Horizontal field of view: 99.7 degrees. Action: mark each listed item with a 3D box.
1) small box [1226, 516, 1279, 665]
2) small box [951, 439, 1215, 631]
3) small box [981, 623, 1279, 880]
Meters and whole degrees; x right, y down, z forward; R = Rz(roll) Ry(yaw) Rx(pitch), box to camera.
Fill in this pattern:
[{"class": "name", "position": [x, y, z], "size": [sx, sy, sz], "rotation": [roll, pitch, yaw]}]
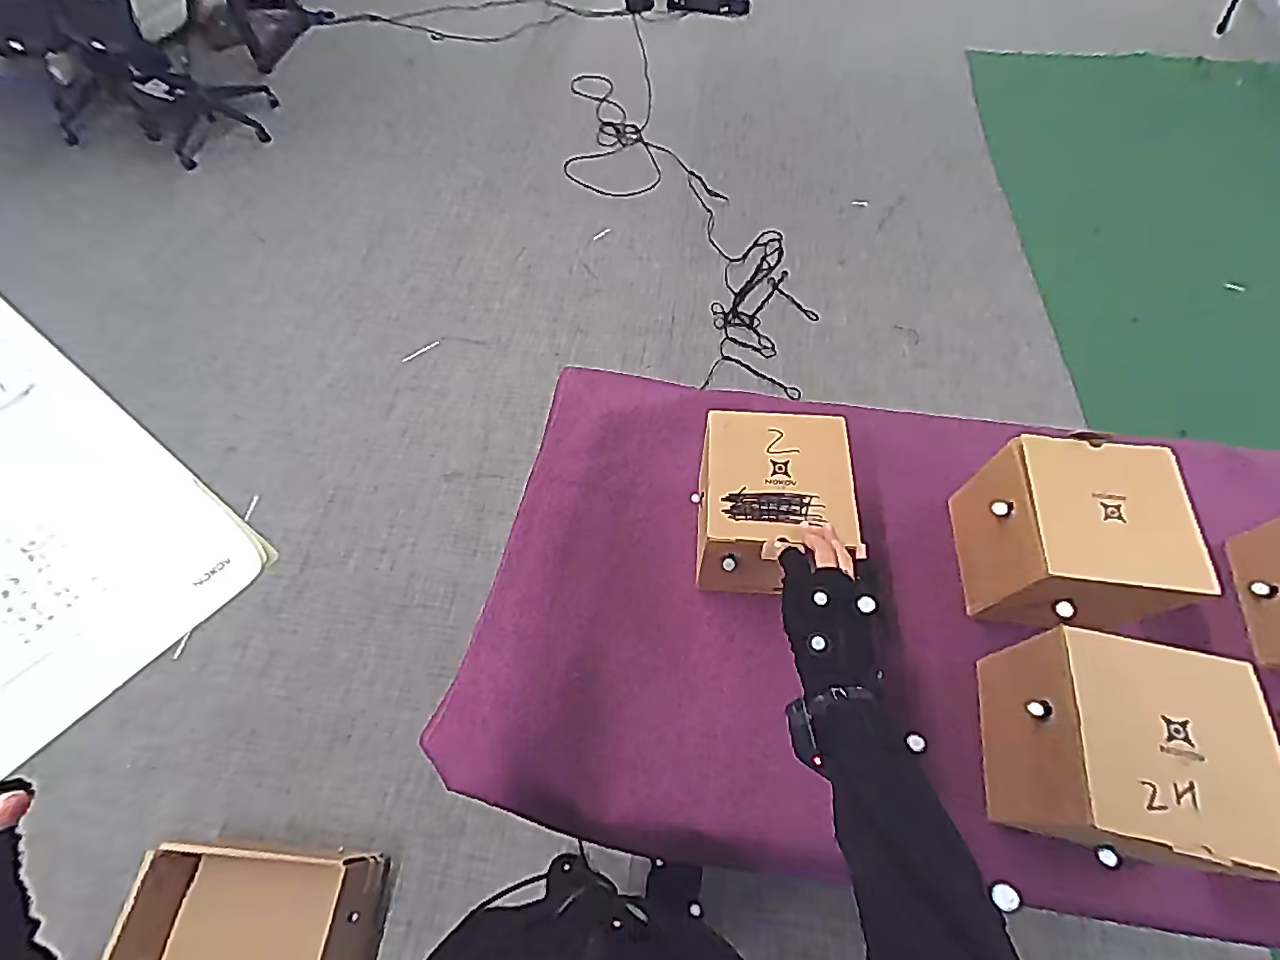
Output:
[{"class": "small box", "position": [0.841, 0.132, 0.610], "size": [0.168, 0.176, 0.179], "rotation": [12, 62, 9]}, {"class": "small box", "position": [0.508, 0.073, 0.656], "size": [0.168, 0.176, 0.179], "rotation": [6, 60, 5]}, {"class": "small box", "position": [0.470, 0.268, 0.542], "size": [0.168, 0.176, 0.179], "rotation": [11, 61, 8]}]
